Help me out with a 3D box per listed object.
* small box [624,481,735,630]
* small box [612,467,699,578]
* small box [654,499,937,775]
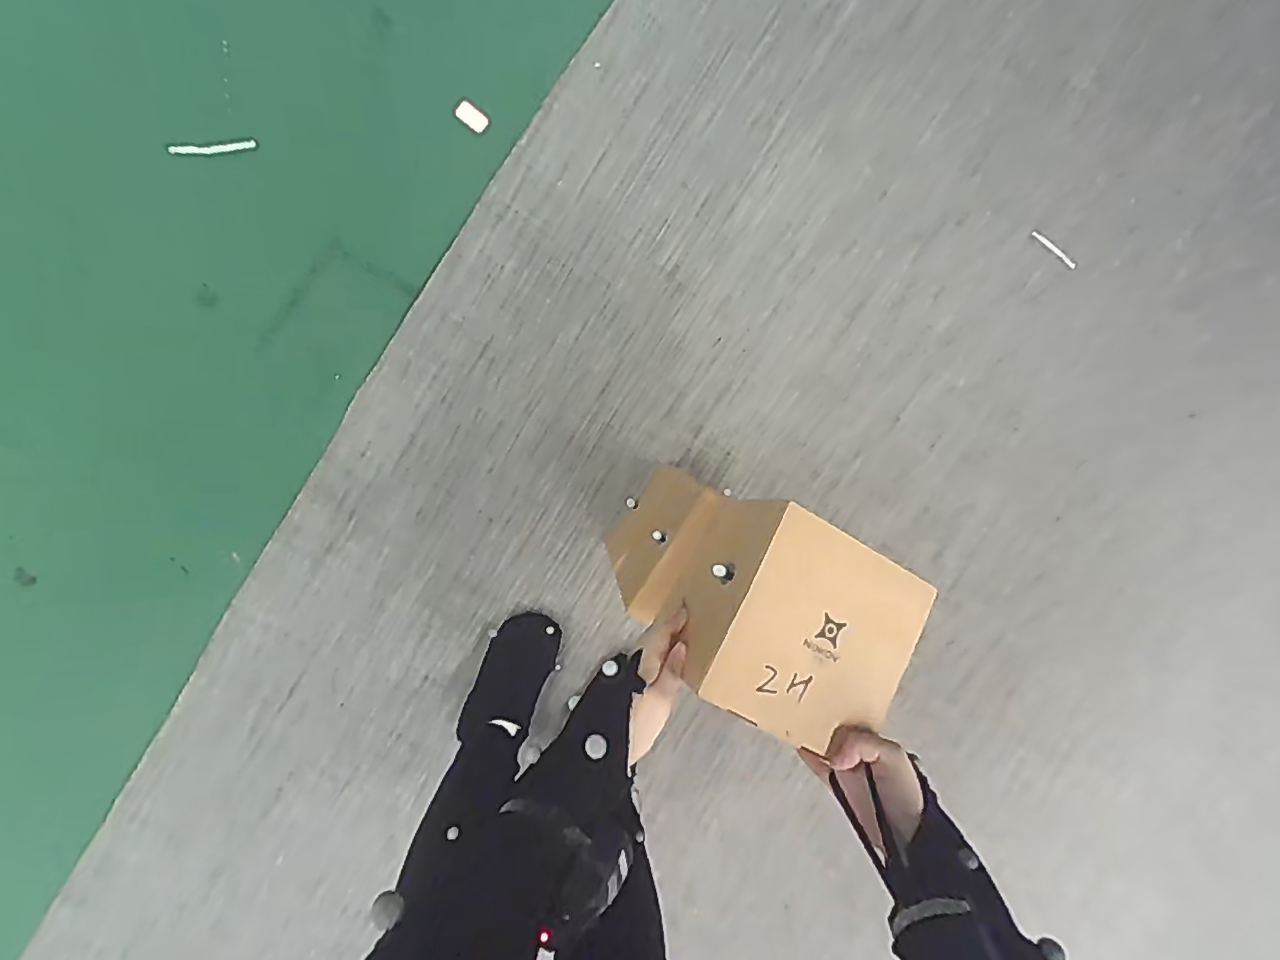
[{"bbox_3d":[0.090,0.116,0.705,0.168,0.176,0.179,33,92,-8],"label":"small box"},{"bbox_3d":[0.068,0.097,0.865,0.168,0.176,0.179,36,91,-10],"label":"small box"},{"bbox_3d":[0.131,0.131,0.518,0.168,0.176,0.179,30,82,-10],"label":"small box"}]
